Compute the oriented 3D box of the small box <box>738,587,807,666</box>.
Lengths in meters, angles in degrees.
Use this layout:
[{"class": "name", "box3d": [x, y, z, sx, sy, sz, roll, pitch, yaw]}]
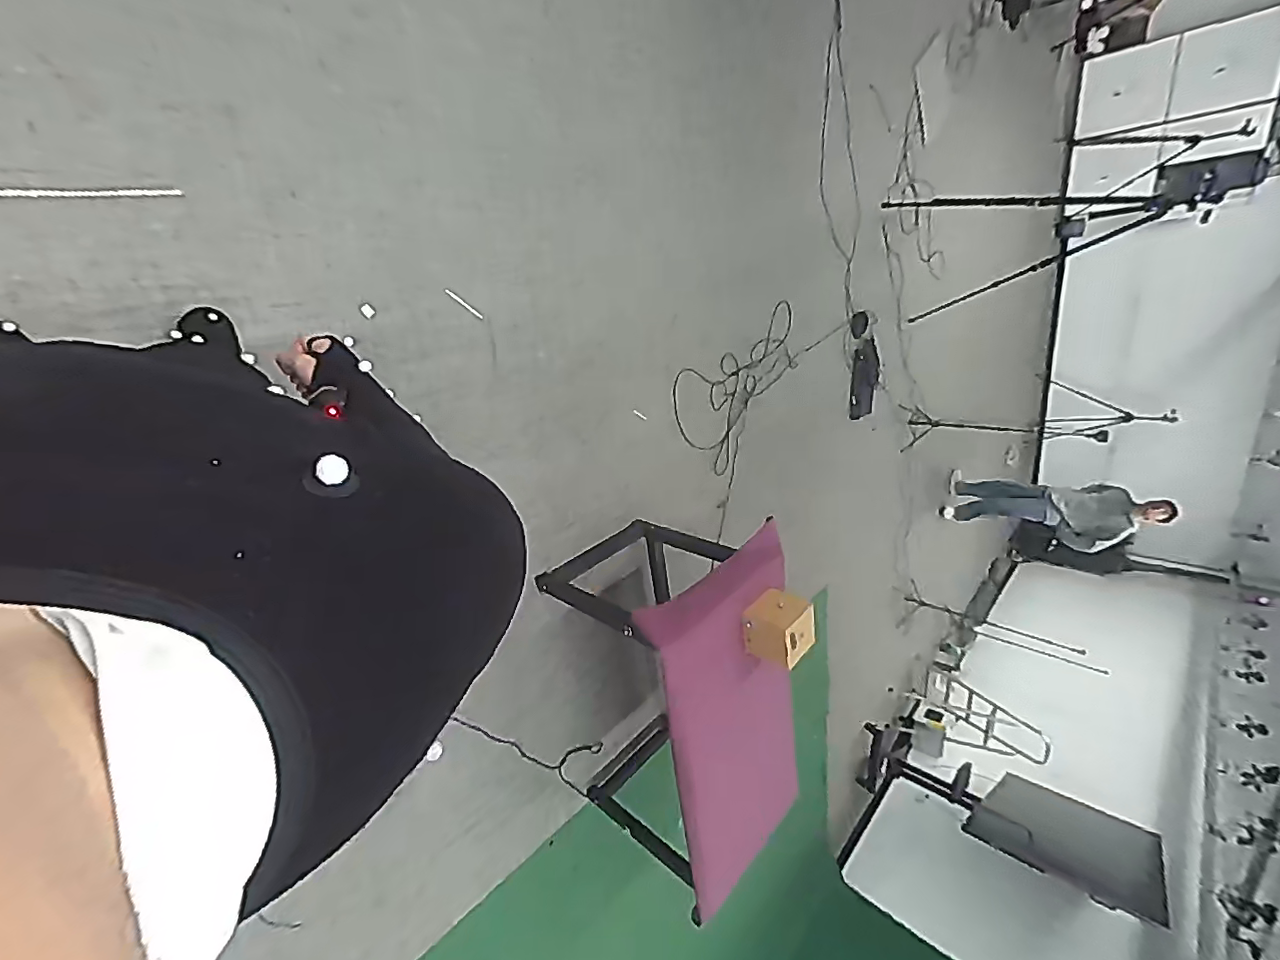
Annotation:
[{"class": "small box", "box3d": [0.444, 0.488, 1.827, 0.179, 0.176, 0.168, -28, 119, -39]}]
